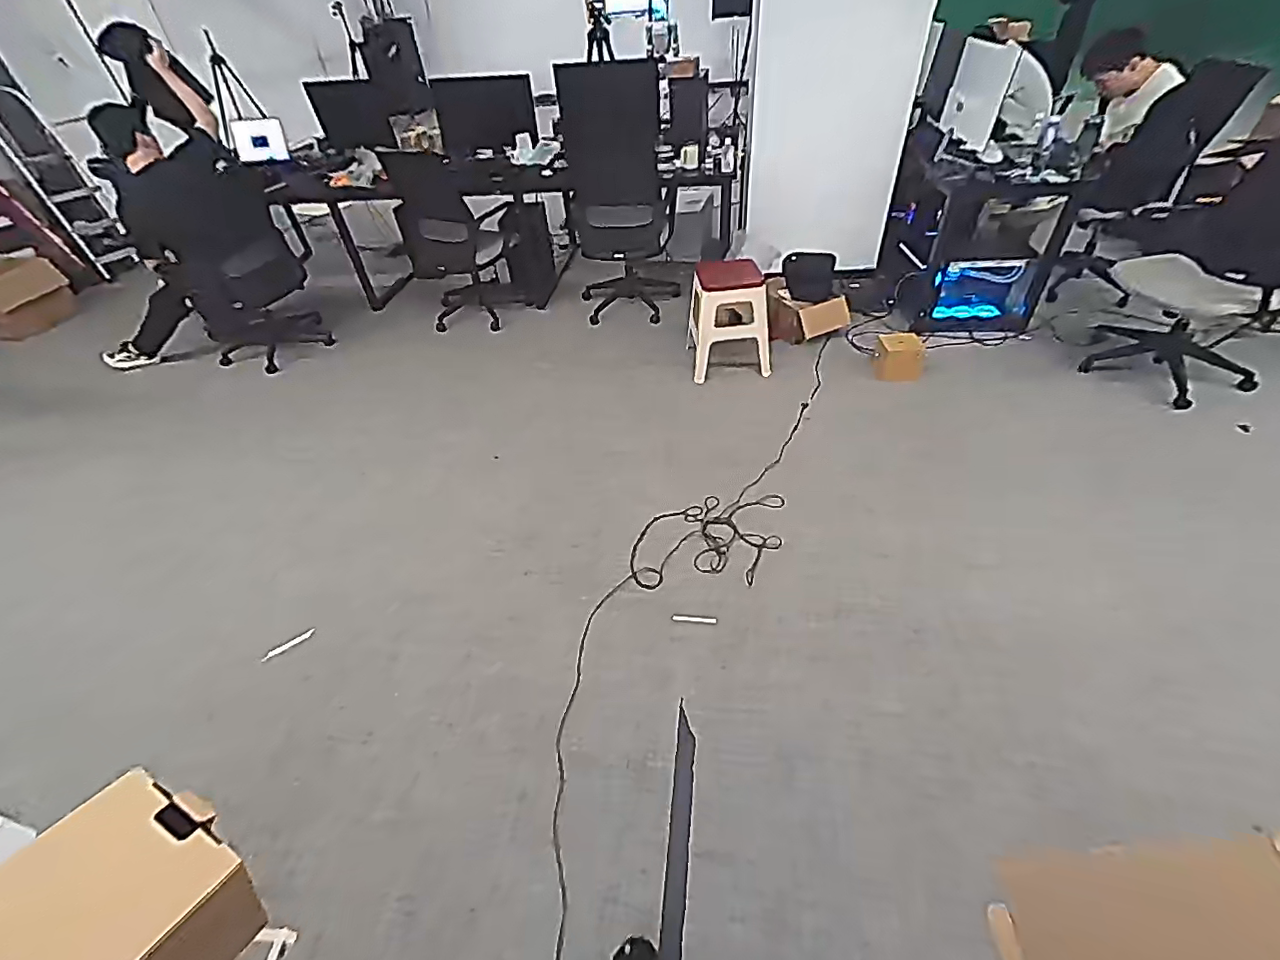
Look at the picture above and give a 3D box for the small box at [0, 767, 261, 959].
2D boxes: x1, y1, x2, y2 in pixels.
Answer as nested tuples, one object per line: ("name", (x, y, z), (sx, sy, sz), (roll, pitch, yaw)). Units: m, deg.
("small box", (-0.500, 0.427, 0.507), (0.168, 0.176, 0.179), (26, 34, 15))
